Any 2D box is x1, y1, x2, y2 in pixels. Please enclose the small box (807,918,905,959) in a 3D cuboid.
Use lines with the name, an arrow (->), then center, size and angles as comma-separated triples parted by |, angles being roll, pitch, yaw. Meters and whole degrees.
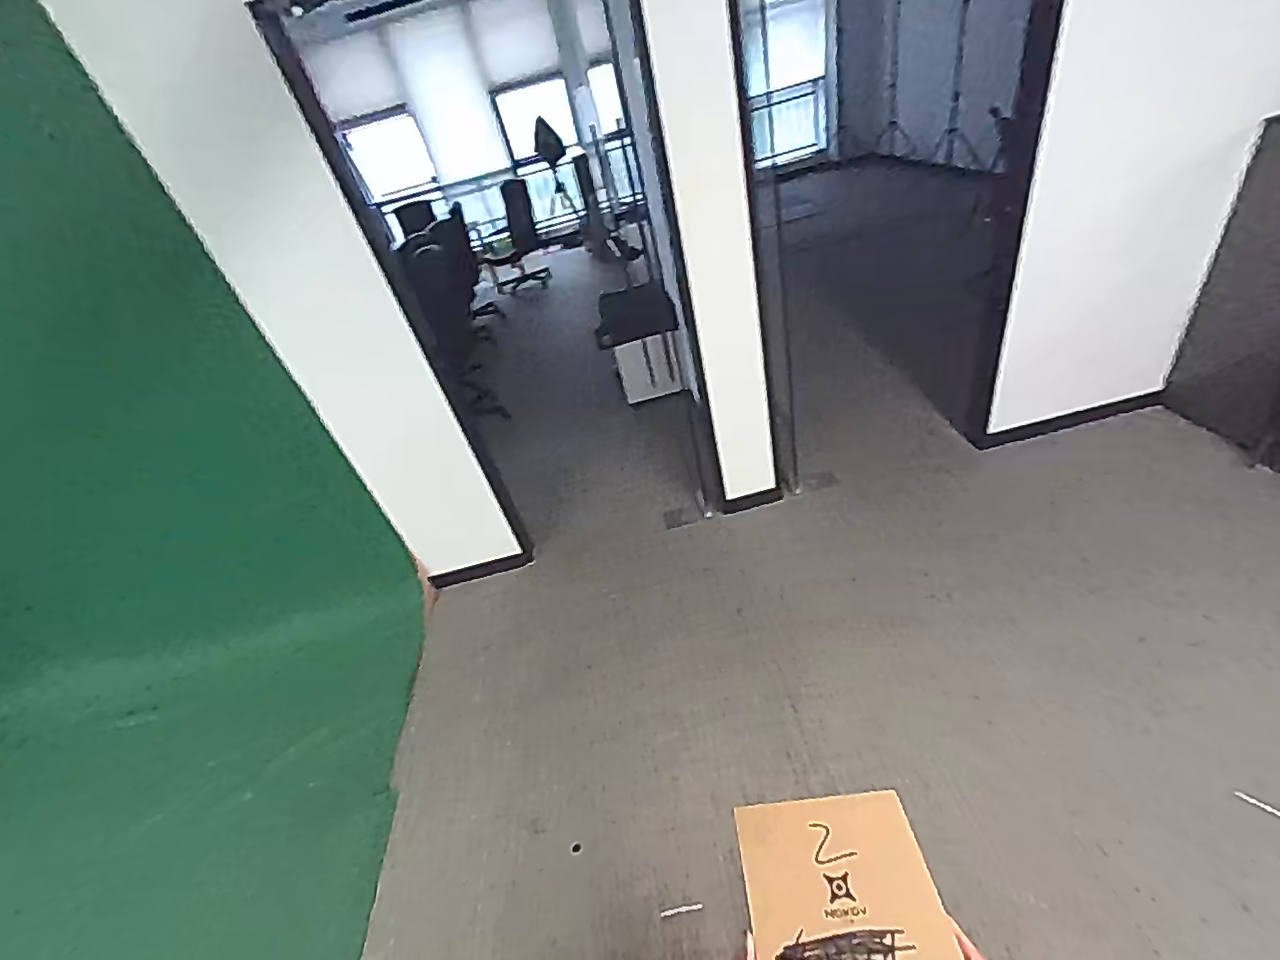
small box -> 0.414, 0.956, 1.010 | 0.168, 0.176, 0.179 | -10, 37, 7
